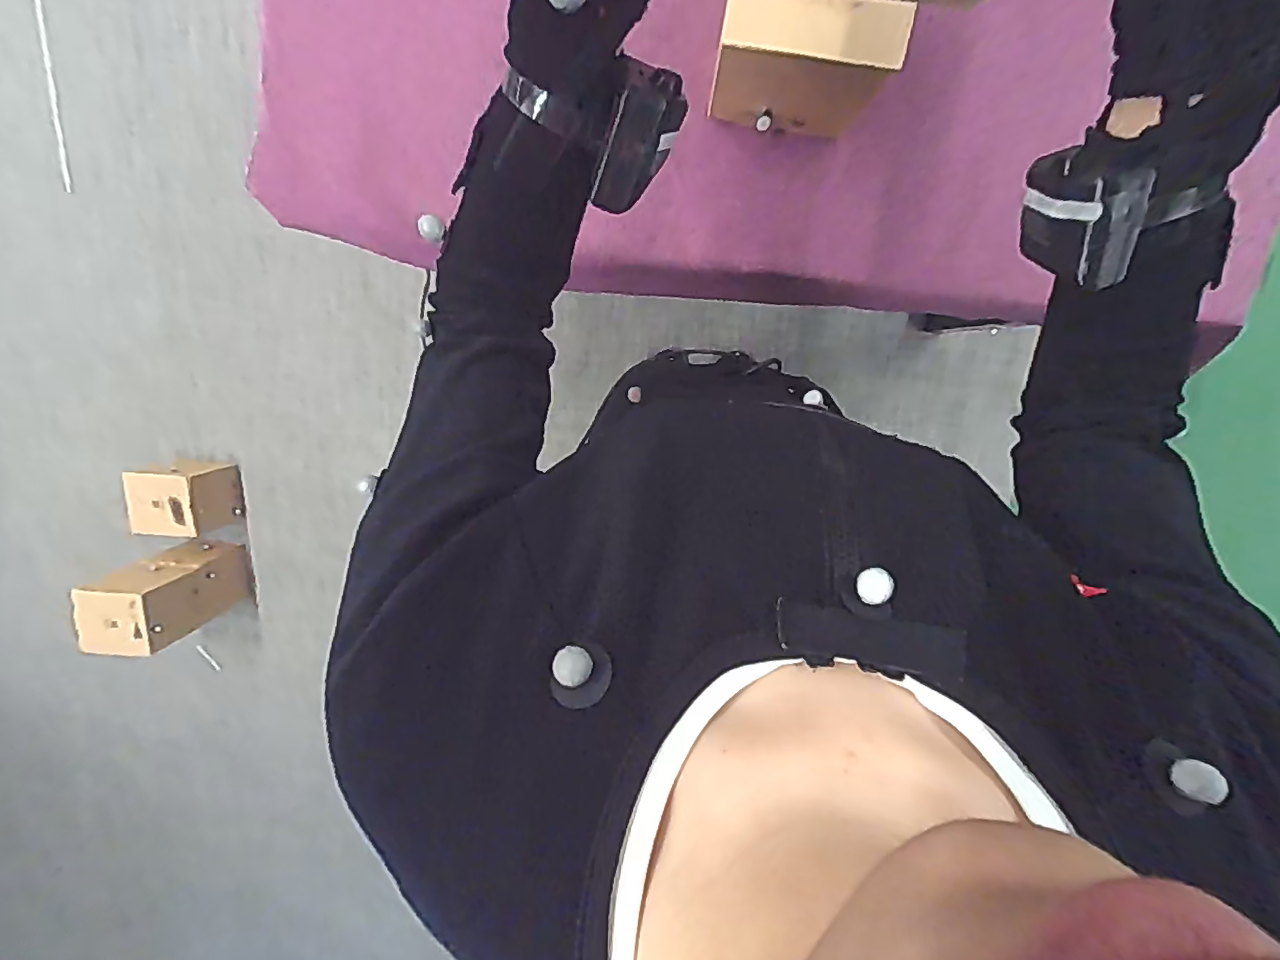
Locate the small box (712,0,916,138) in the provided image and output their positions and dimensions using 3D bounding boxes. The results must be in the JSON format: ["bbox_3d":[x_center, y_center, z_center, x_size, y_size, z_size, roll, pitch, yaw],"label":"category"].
[{"bbox_3d":[0.172,-0.484,0.545,0.168,0.176,0.179,10,103,1],"label":"small box"}]

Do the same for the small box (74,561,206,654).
[{"bbox_3d":[-1.248,0.313,1.362,0.179,0.176,0.168,5,103,2],"label":"small box"}]

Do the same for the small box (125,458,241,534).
[{"bbox_3d":[-1.222,0.039,1.465,0.179,0.176,0.168,4,103,2],"label":"small box"}]
